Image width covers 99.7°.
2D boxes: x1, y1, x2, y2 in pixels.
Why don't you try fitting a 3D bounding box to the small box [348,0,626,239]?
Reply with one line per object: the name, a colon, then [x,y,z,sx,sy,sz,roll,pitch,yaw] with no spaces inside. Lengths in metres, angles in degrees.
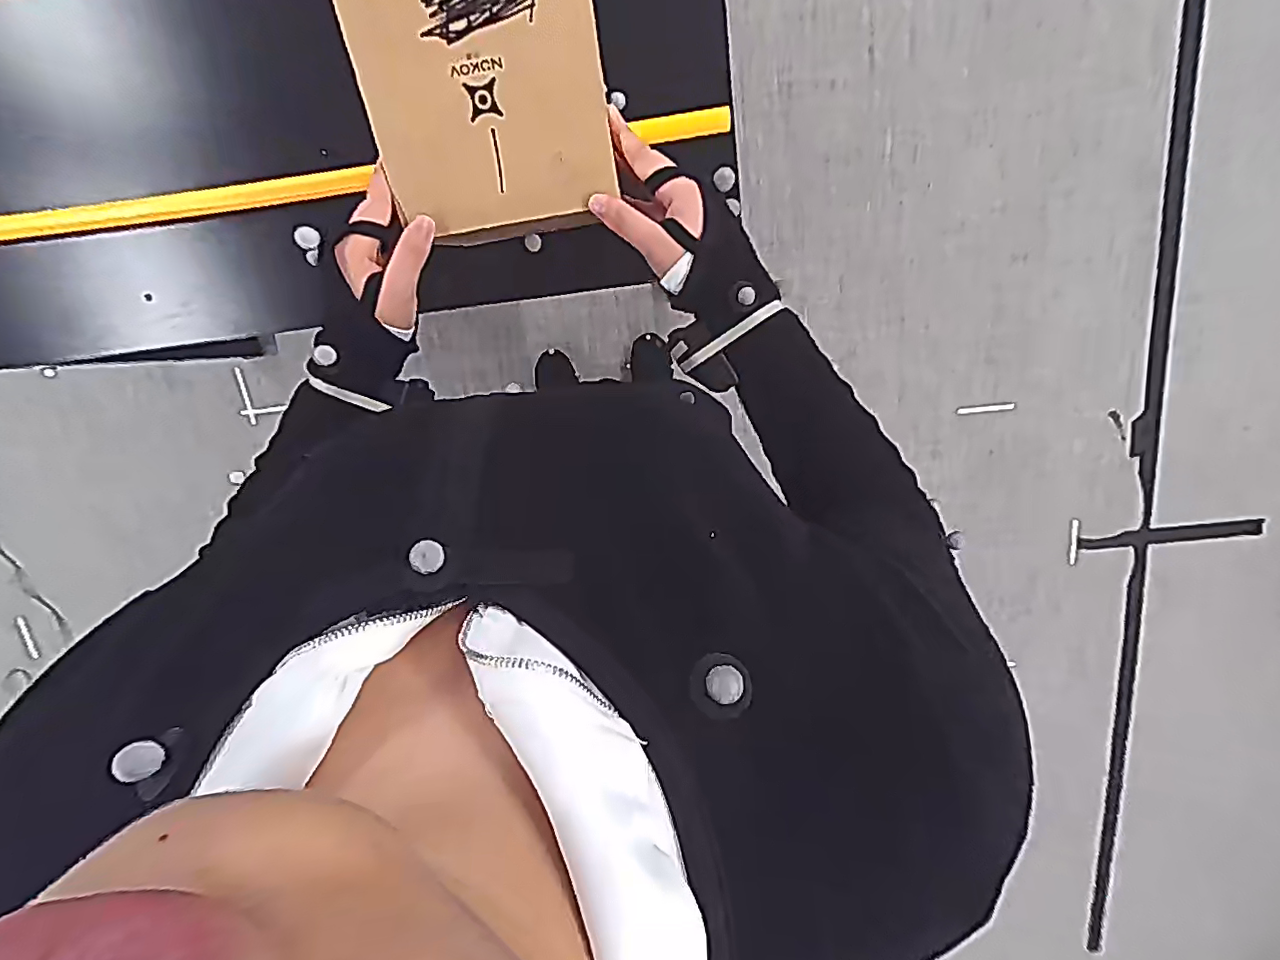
small box: [-0.106,-0.308,0.446,0.168,0.176,0.179,-9,112,2]
